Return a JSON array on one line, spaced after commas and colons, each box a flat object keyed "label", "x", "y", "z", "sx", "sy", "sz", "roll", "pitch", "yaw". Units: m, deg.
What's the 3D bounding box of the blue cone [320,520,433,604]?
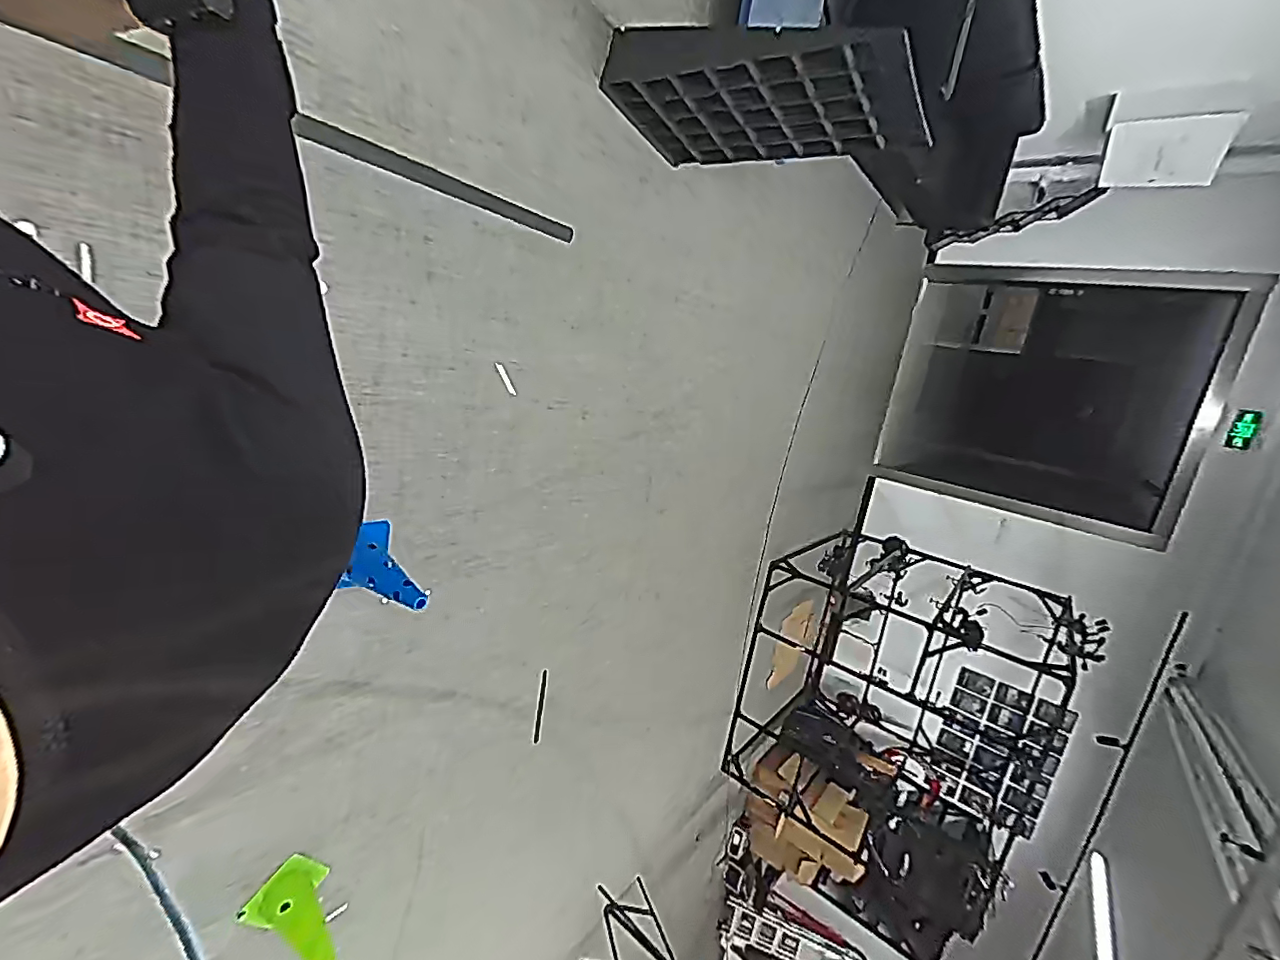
[{"label": "blue cone", "x": -0.707, "y": 0.259, "z": 1.500, "sx": 0.192, "sy": 0.380, "sz": 0.193, "roll": -2, "pitch": 107, "yaw": -55}]

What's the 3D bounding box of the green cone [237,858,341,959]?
[{"label": "green cone", "x": -0.982, "y": 1.352, "z": 1.606, "sx": 0.202, "sy": 0.368, "sz": 0.200, "roll": -49, "pitch": 140, "yaw": -31}]

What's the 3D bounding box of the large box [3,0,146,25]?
[{"label": "large box", "x": -0.519, "y": -0.509, "z": 0.251, "sx": 0.408, "sy": 0.320, "sz": 0.320, "roll": -7, "pitch": 119, "yaw": -54}]
